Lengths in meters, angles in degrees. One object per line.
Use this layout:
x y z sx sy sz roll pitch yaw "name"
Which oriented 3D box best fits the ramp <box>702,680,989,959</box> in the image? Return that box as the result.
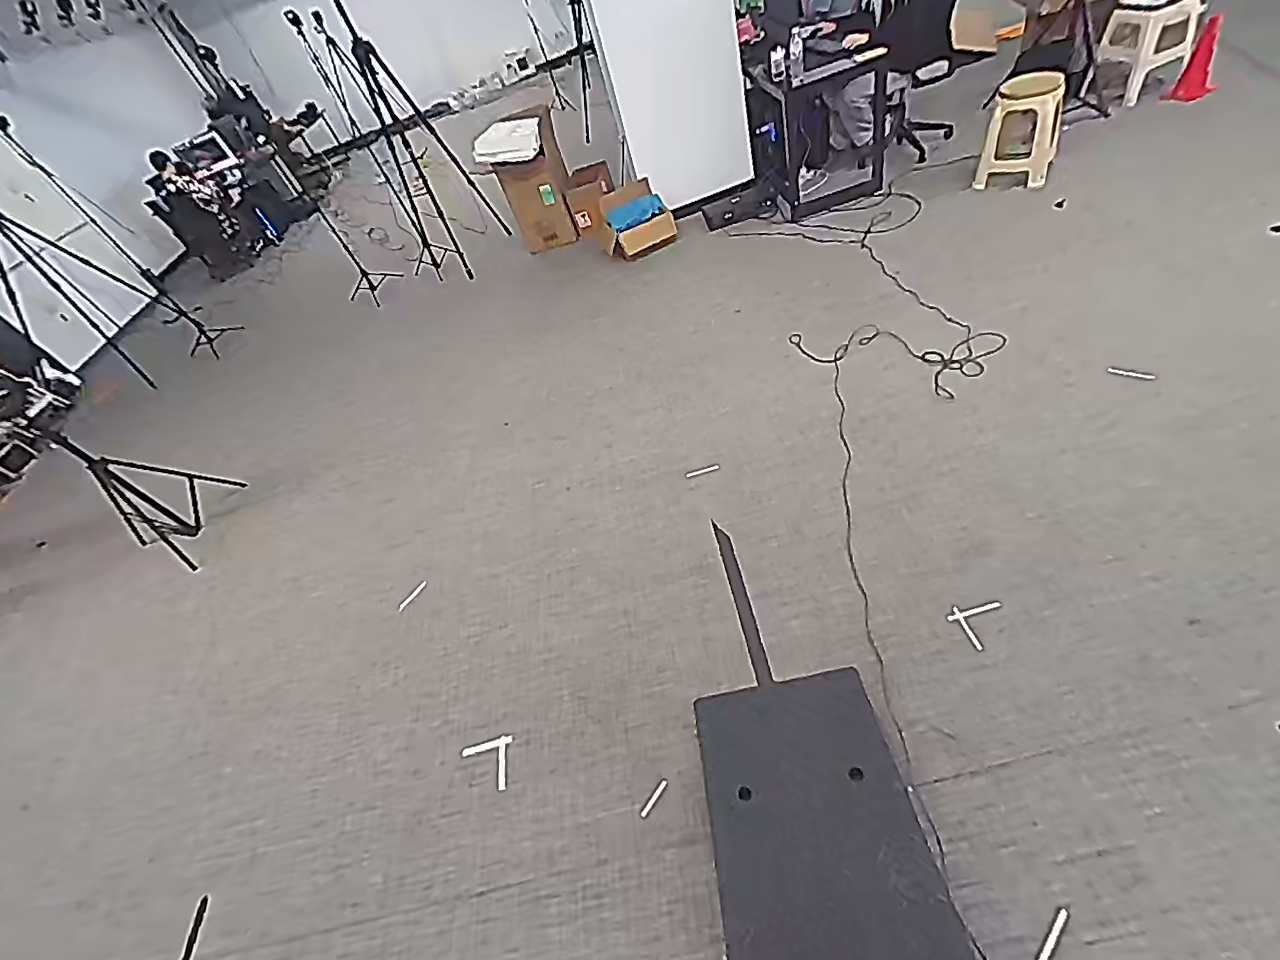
0.443 0.933 1.199 0.509 0.206 0.991 -19 43 7 "ramp"
